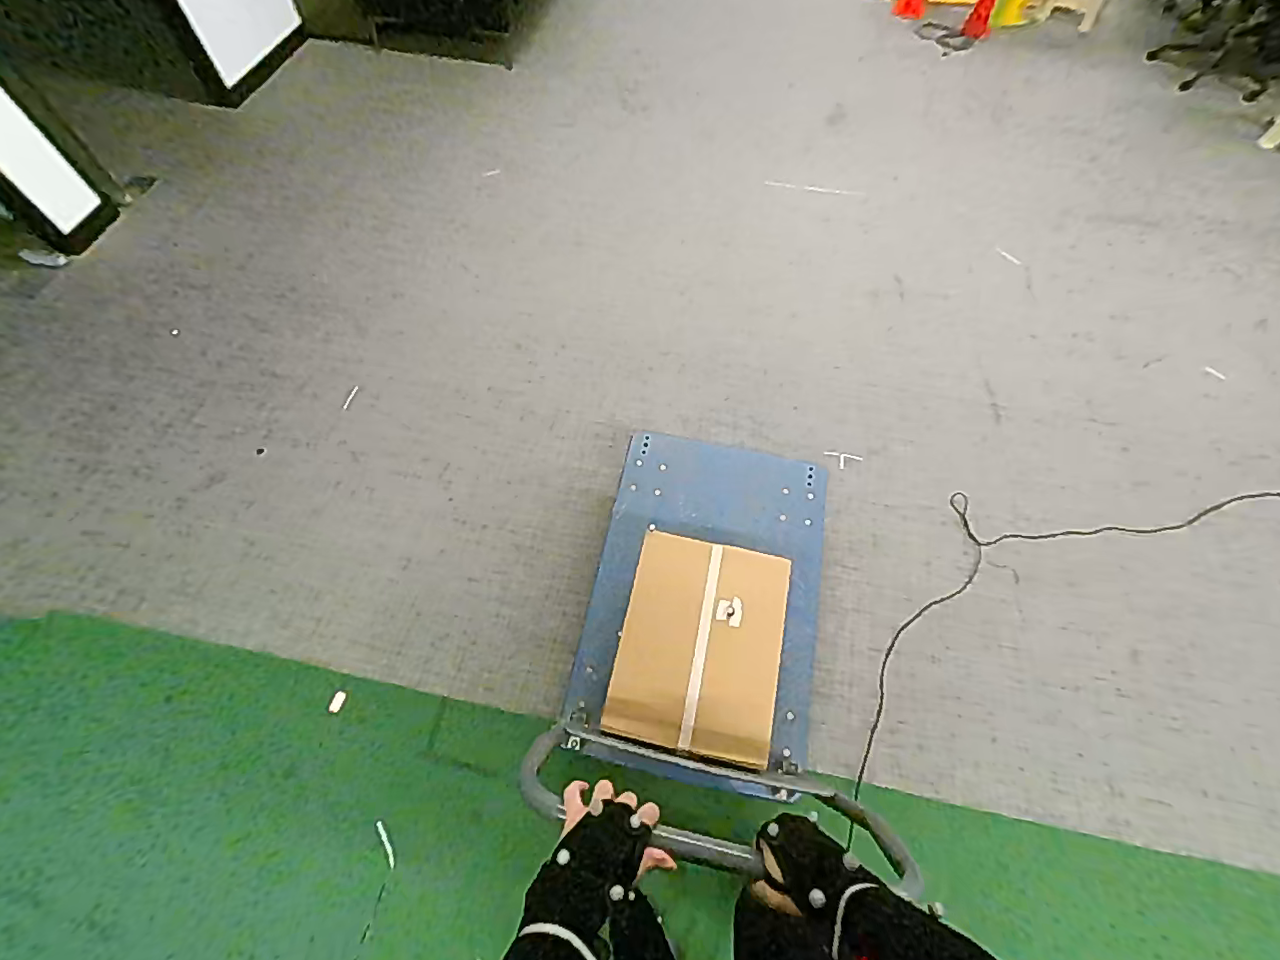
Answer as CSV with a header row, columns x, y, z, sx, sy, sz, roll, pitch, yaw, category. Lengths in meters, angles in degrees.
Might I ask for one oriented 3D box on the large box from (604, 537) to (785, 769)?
x,y,z,sx,sy,sz,roll,pitch,yaw,category
0.118,0.390,1.203,0.320,0.320,0.408,12,64,4,large box
